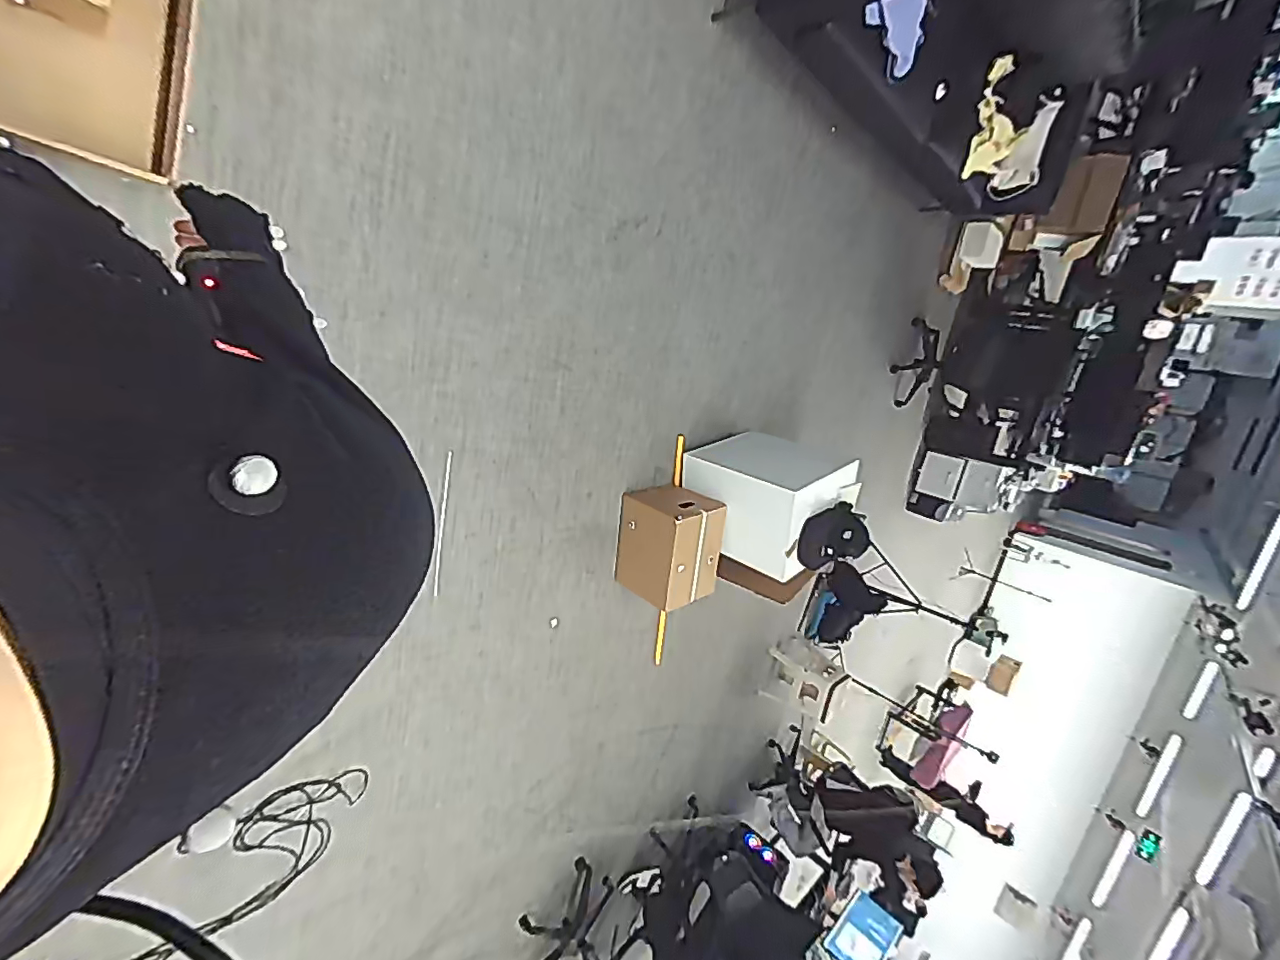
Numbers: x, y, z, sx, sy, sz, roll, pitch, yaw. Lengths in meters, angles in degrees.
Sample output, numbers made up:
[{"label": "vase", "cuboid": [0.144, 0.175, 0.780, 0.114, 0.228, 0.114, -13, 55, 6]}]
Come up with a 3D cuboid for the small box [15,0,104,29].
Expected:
[{"label": "small box", "cuboid": [-0.889, -0.803, 0.772, 0.168, 0.176, 0.179, -3, 109, -47]}]
